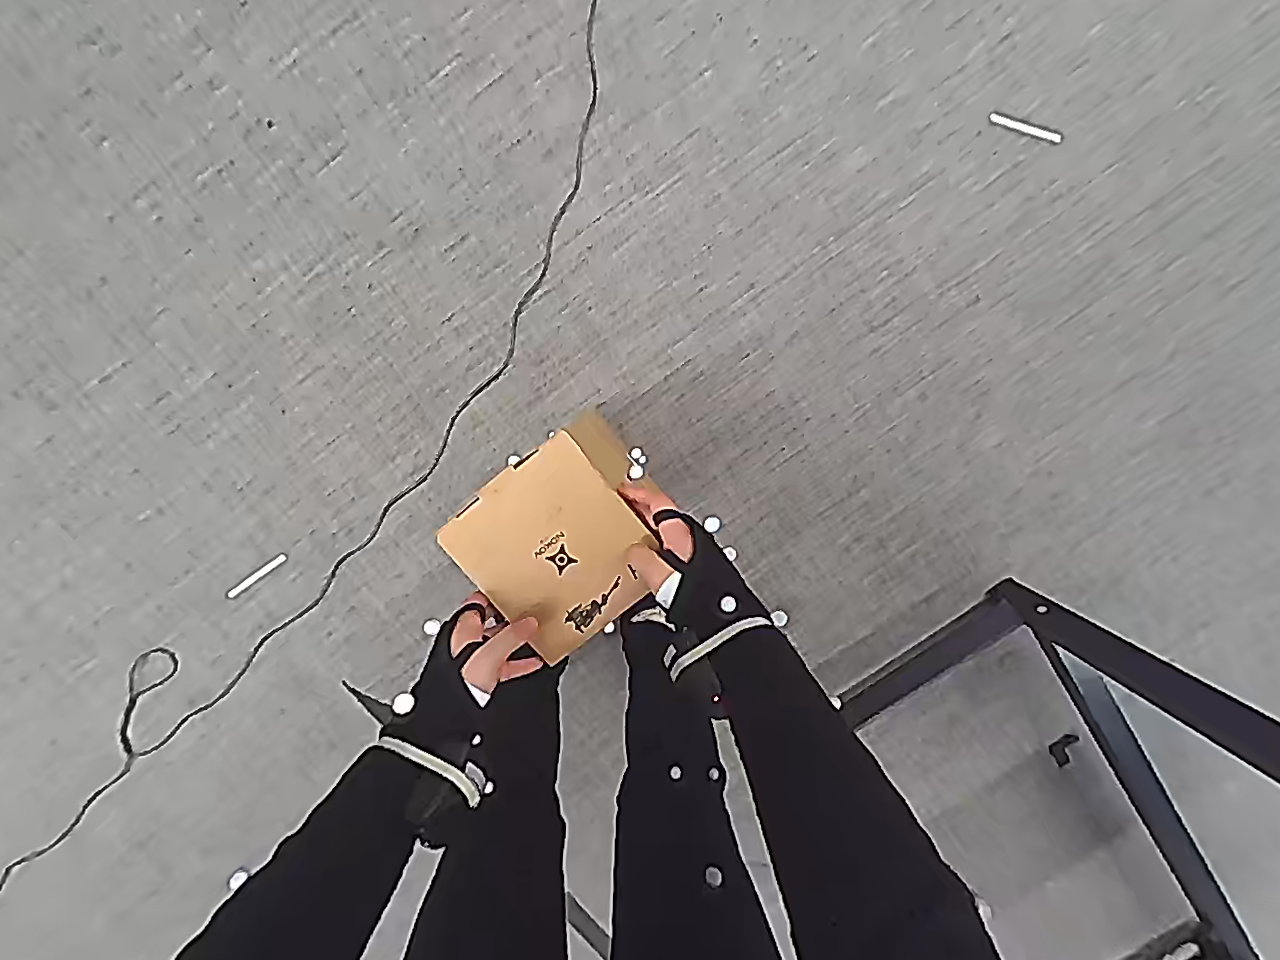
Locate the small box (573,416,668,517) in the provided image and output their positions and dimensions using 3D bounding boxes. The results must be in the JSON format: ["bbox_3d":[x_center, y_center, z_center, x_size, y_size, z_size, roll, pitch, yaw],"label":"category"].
[{"bbox_3d":[-0.083,0.027,0.778,0.179,0.176,0.168,-42,102,4],"label":"small box"}]

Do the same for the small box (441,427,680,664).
[{"bbox_3d":[-0.074,0.057,0.595,0.168,0.176,0.179,-39,95,7],"label":"small box"}]
